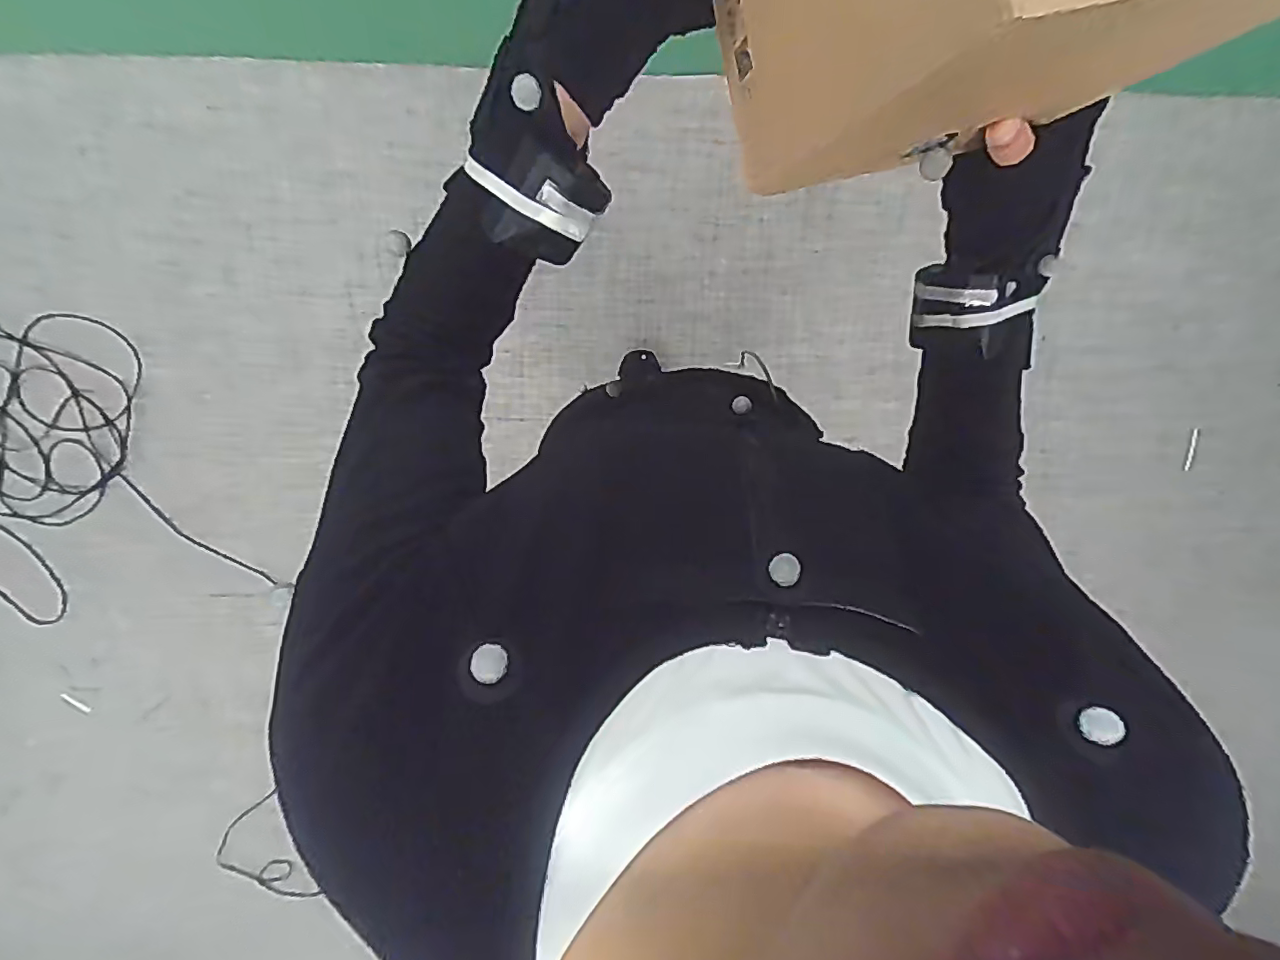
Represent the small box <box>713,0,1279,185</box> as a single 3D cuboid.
[{"bbox_3d":[0.141,-0.243,0.217,0.179,0.176,0.168,-18,105,-11],"label":"small box"}]
